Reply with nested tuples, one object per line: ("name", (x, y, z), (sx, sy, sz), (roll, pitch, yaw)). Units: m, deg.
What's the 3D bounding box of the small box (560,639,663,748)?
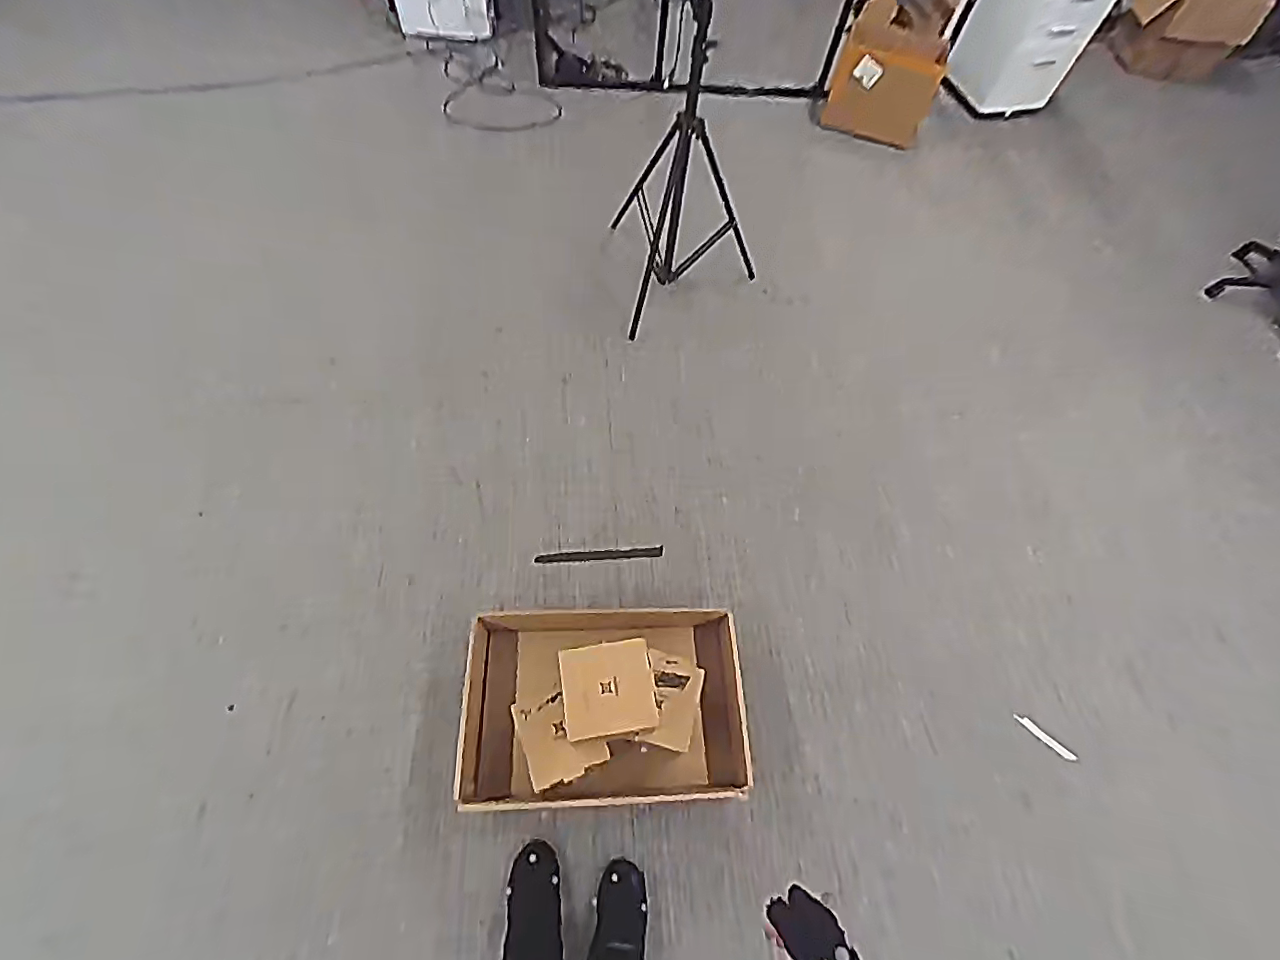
("small box", (-0.062, 0.430, 1.085), (0.179, 0.176, 0.168), (-8, 61, -8))
